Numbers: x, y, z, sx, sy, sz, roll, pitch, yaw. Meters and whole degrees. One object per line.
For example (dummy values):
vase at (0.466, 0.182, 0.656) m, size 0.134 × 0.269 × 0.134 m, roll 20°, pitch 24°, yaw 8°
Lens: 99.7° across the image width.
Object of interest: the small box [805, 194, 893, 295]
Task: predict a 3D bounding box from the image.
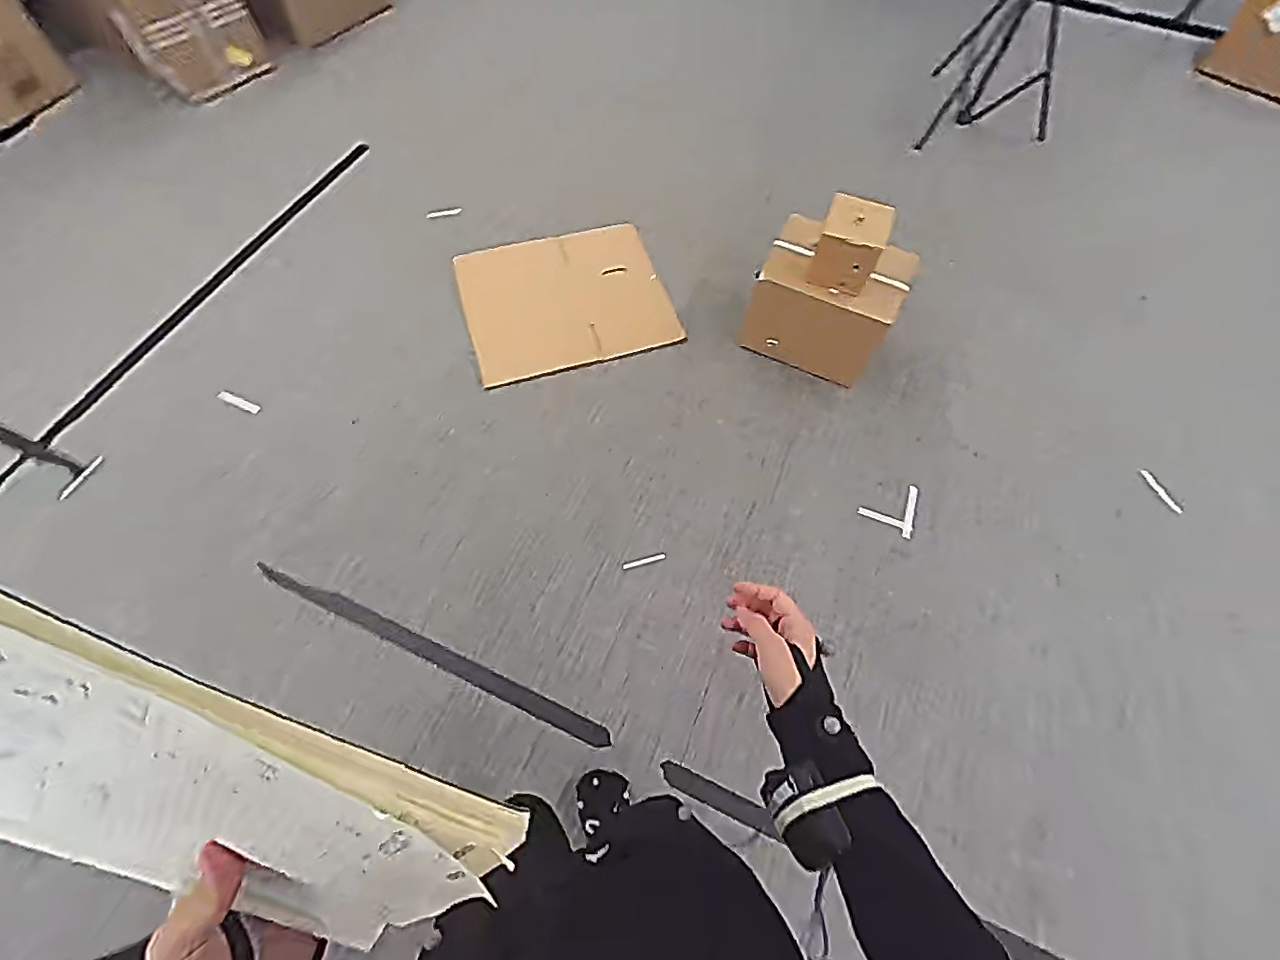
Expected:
small box at (0.576, -0.651, 1.508) m, size 0.168 × 0.176 × 0.179 m, roll 19°, pitch 65°, yaw 6°
